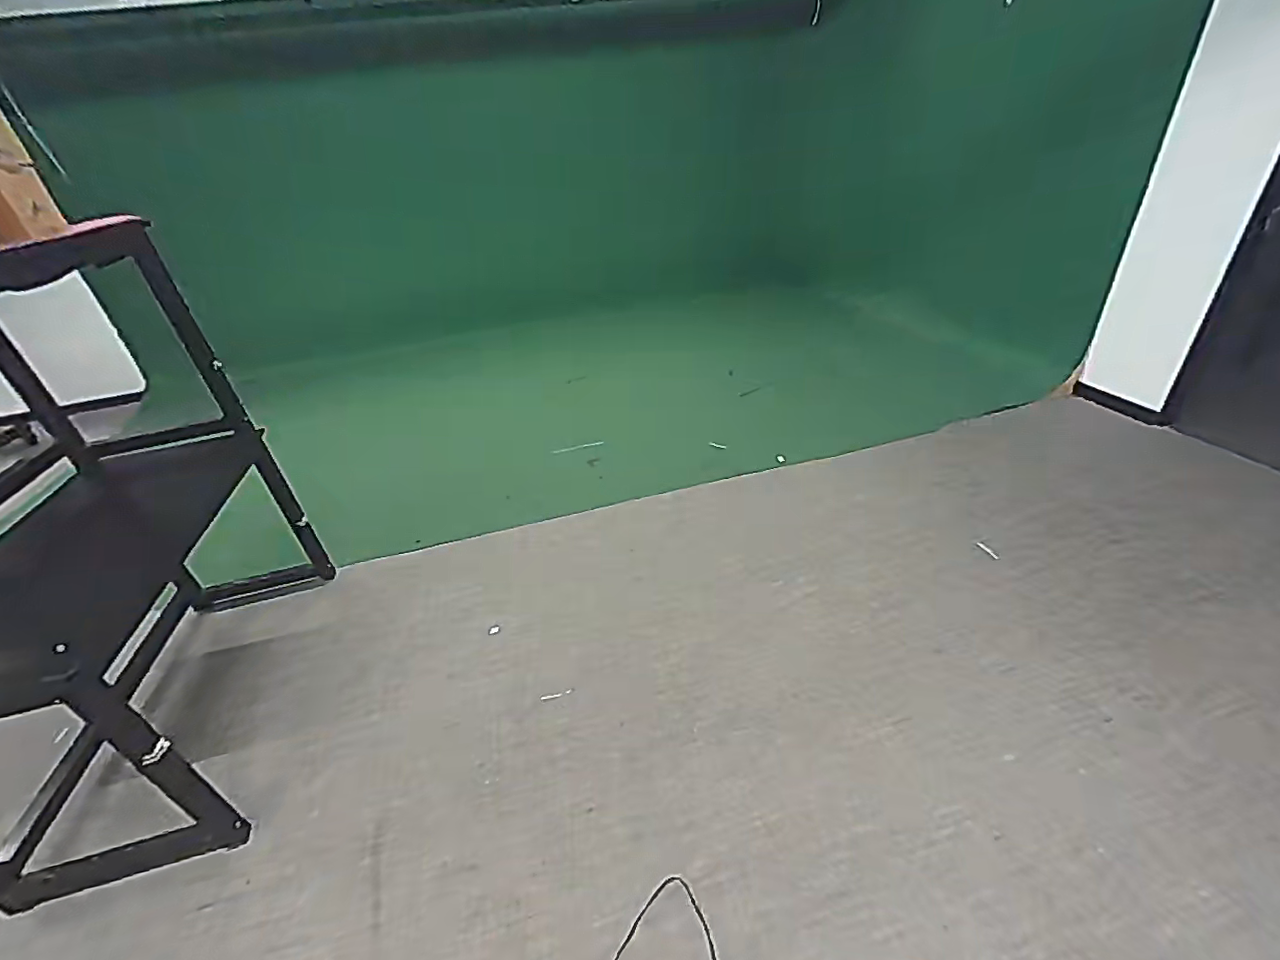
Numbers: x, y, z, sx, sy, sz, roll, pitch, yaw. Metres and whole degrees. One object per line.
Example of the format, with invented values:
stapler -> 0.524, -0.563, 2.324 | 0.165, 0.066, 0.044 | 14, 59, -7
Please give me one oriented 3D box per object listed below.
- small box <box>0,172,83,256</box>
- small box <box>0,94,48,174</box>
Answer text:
small box -> -1.593, -0.673, 1.367 | 0.179, 0.176, 0.168 | -11, 33, -9
small box -> -1.610, -0.815, 1.287 | 0.179, 0.176, 0.168 | -10, 34, -7
